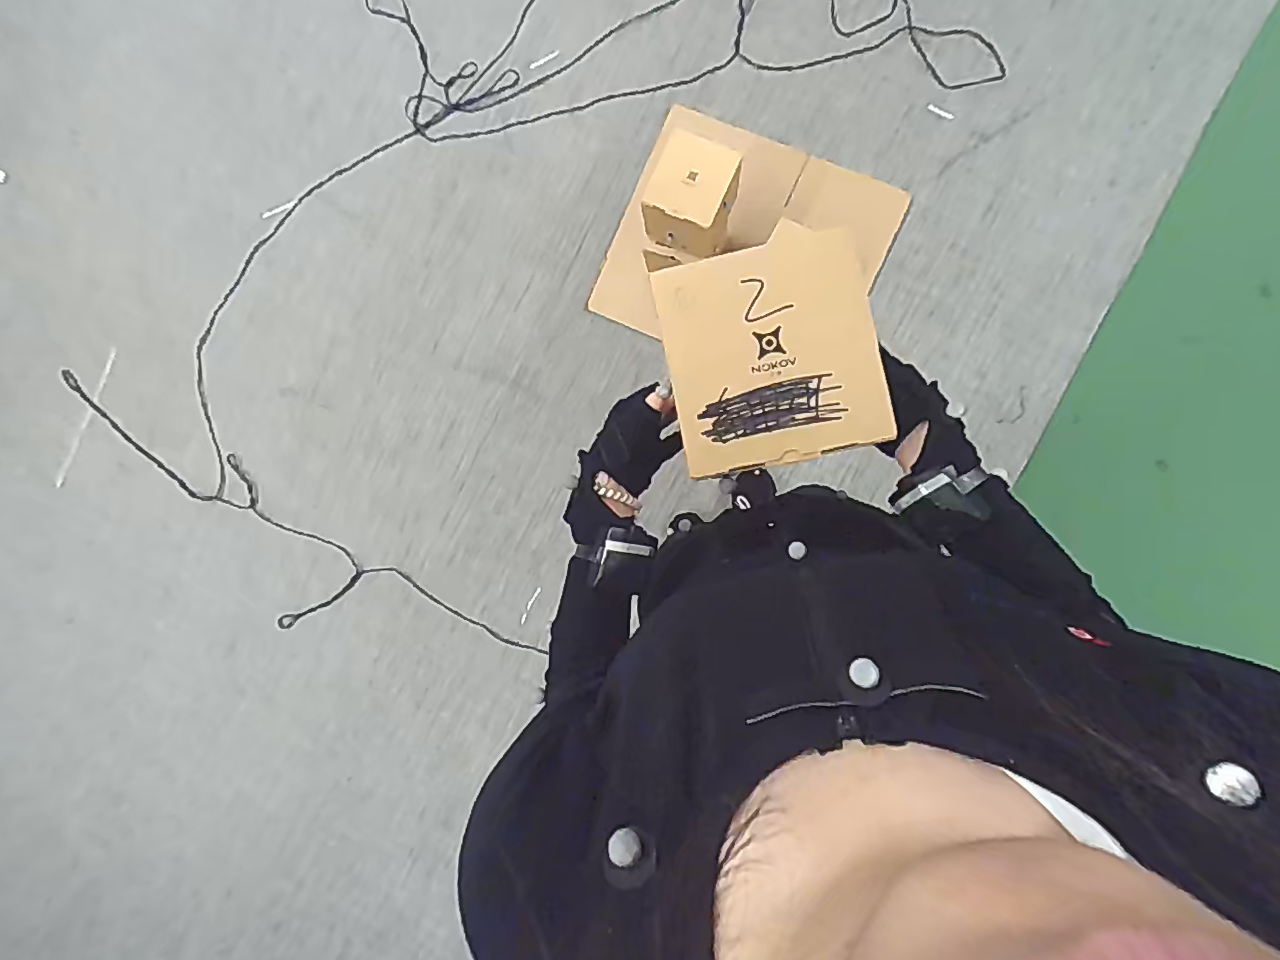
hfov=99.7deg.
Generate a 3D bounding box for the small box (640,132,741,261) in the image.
[{"bbox_3d":[0.113,-0.639,1.240,0.168,0.176,0.179,25,92,5],"label":"small box"}]

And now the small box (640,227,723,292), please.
[{"bbox_3d":[0.114,-0.614,1.403,0.168,0.176,0.179,22,92,6],"label":"small box"}]

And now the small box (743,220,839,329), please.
[{"bbox_3d":[0.374,-0.515,1.378,0.168,0.176,0.179,29,93,6],"label":"small box"}]
